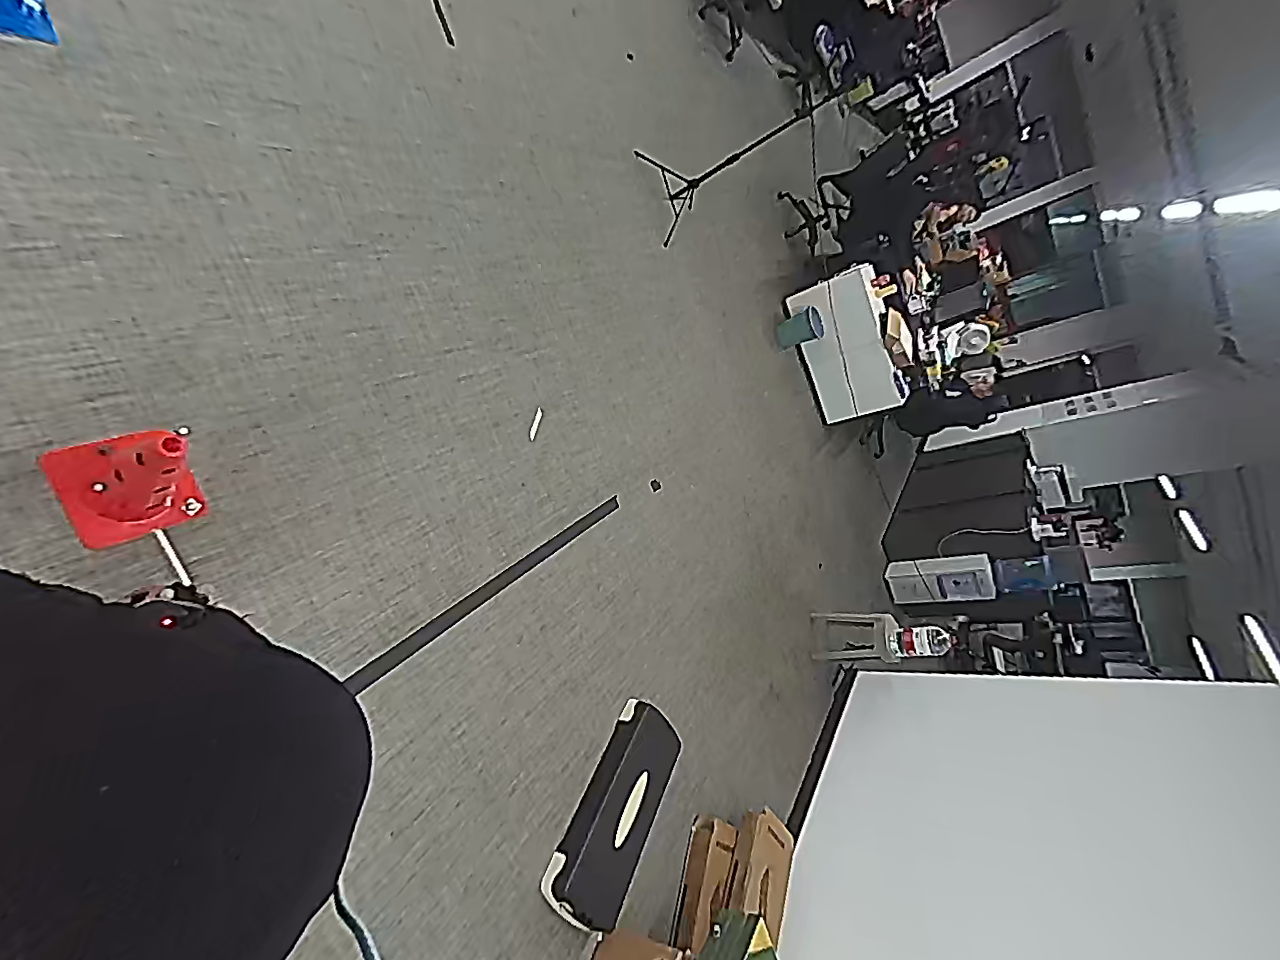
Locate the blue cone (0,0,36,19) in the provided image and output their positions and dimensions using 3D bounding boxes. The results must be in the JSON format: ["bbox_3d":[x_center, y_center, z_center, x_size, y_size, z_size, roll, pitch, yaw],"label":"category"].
[{"bbox_3d":[-1.178,-1.020,0.921,0.193,0.380,0.192,-29,101,-51],"label":"blue cone"}]
